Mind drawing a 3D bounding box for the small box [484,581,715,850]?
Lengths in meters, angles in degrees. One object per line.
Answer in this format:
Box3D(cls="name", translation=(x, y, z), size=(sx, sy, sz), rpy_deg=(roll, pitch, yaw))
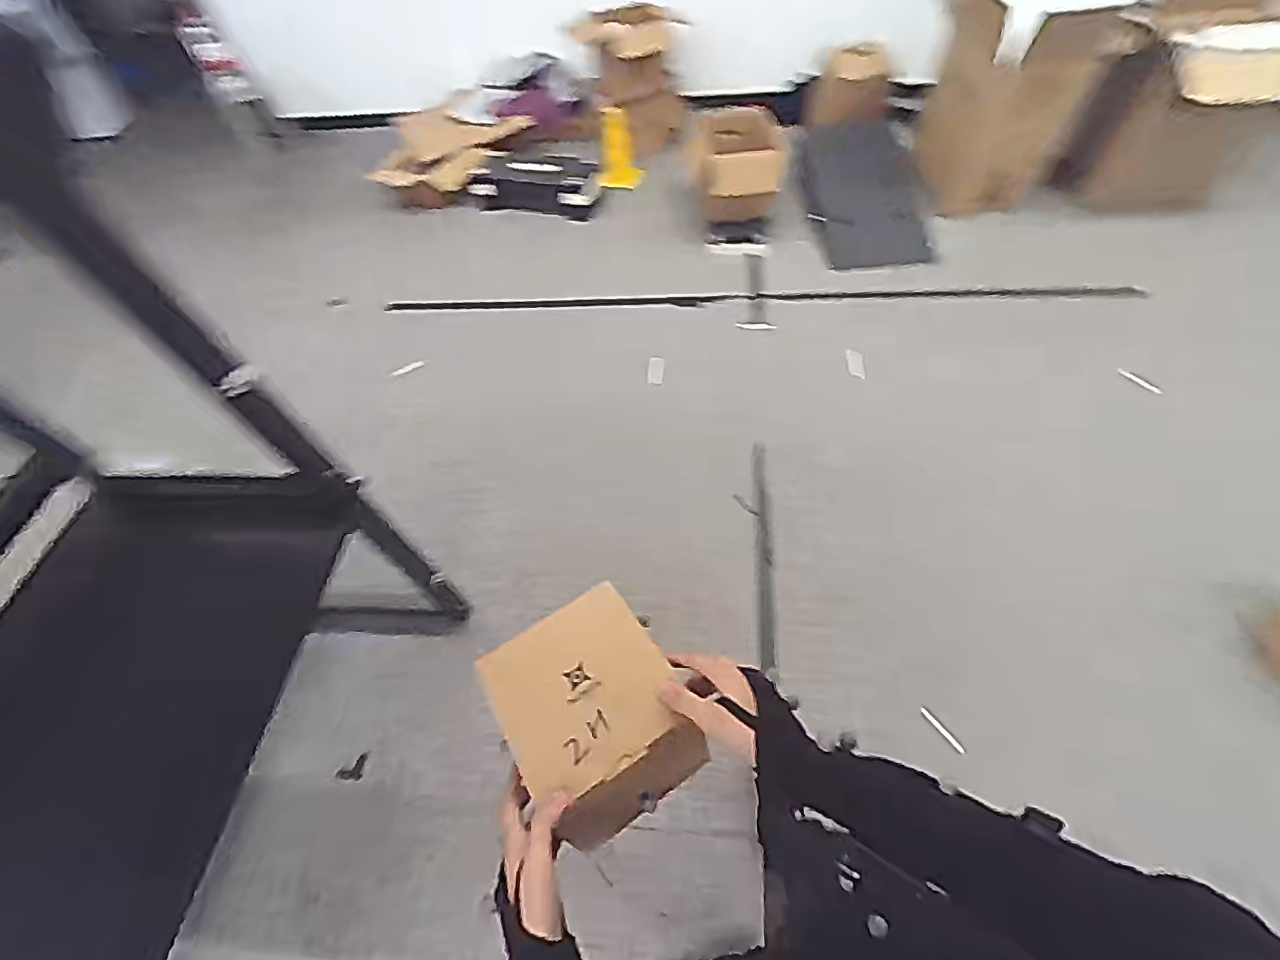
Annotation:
Box3D(cls="small box", translation=(-0.036, 0.248, 0.570), size=(0.168, 0.176, 0.179), rpy_deg=(-30, 50, -15))
